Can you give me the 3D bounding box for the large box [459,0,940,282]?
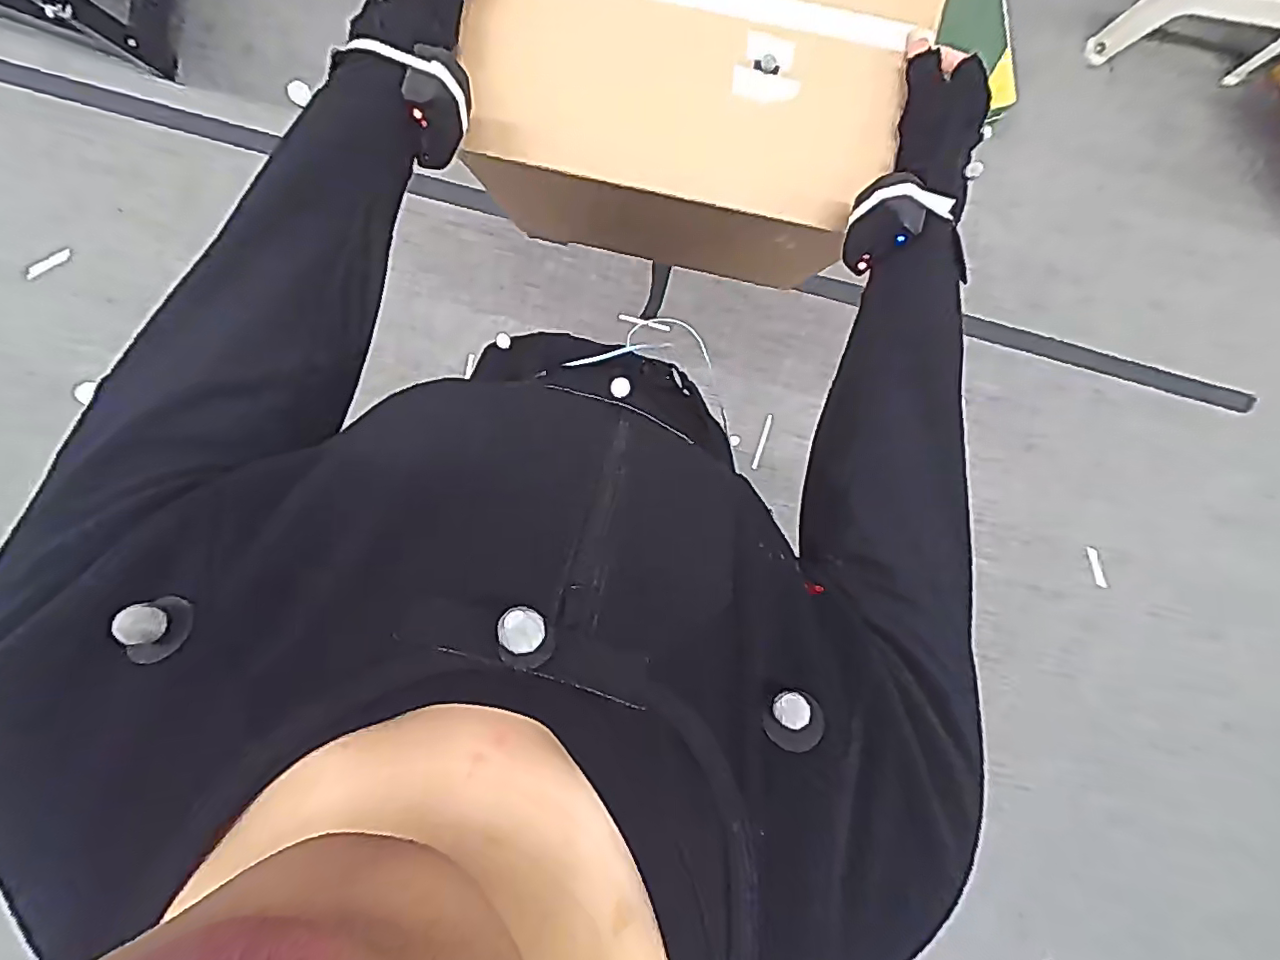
[{"bbox_3d":[0.055,-0.443,0.614,0.408,0.320,0.320,12,102,-3],"label":"large box"}]
